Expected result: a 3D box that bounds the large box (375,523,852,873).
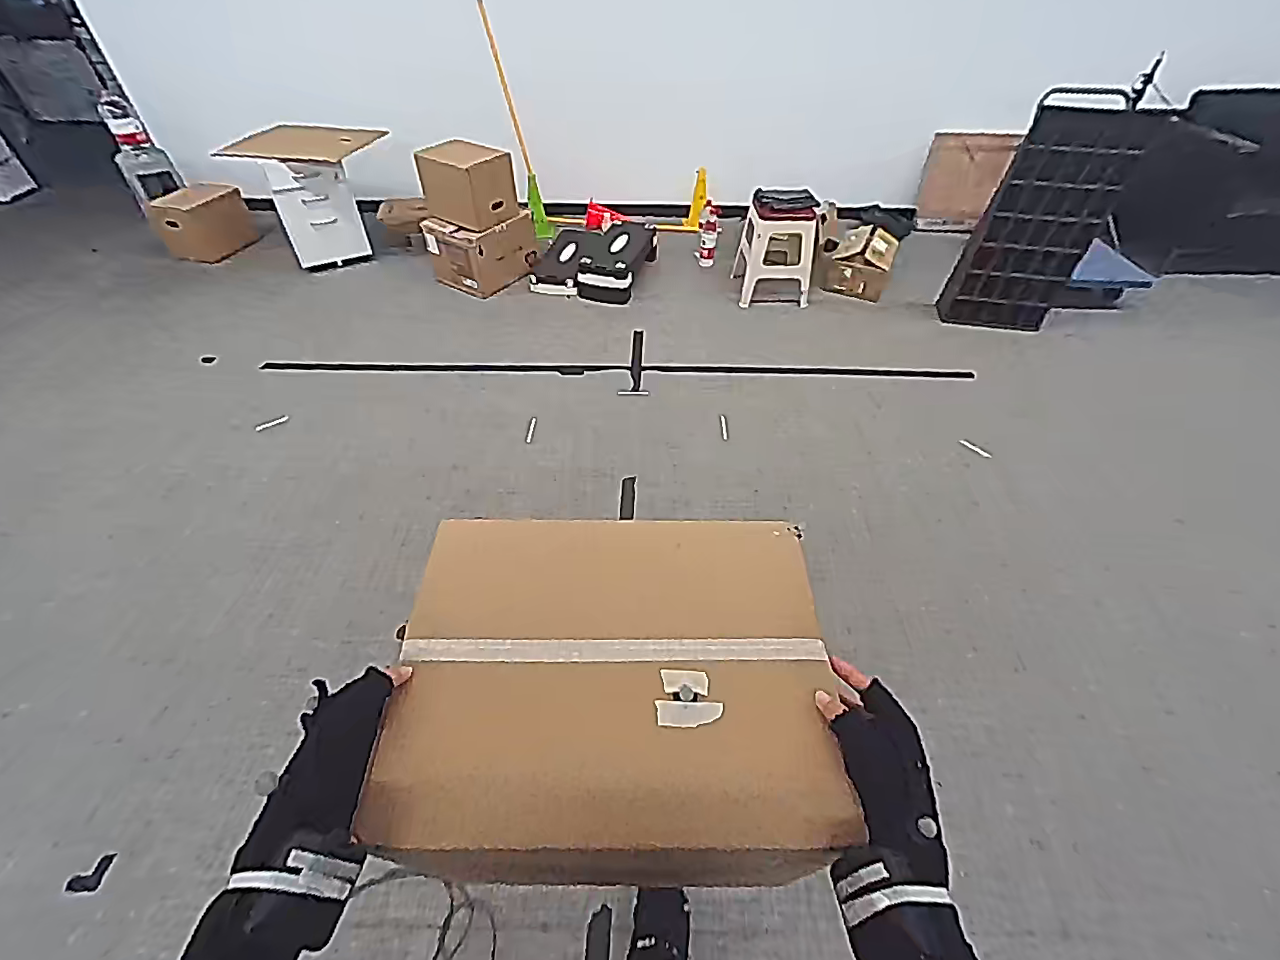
[{"bbox_3d":[-0.026,0.264,0.651,0.408,0.320,0.320,1,50,-1],"label":"large box"}]
